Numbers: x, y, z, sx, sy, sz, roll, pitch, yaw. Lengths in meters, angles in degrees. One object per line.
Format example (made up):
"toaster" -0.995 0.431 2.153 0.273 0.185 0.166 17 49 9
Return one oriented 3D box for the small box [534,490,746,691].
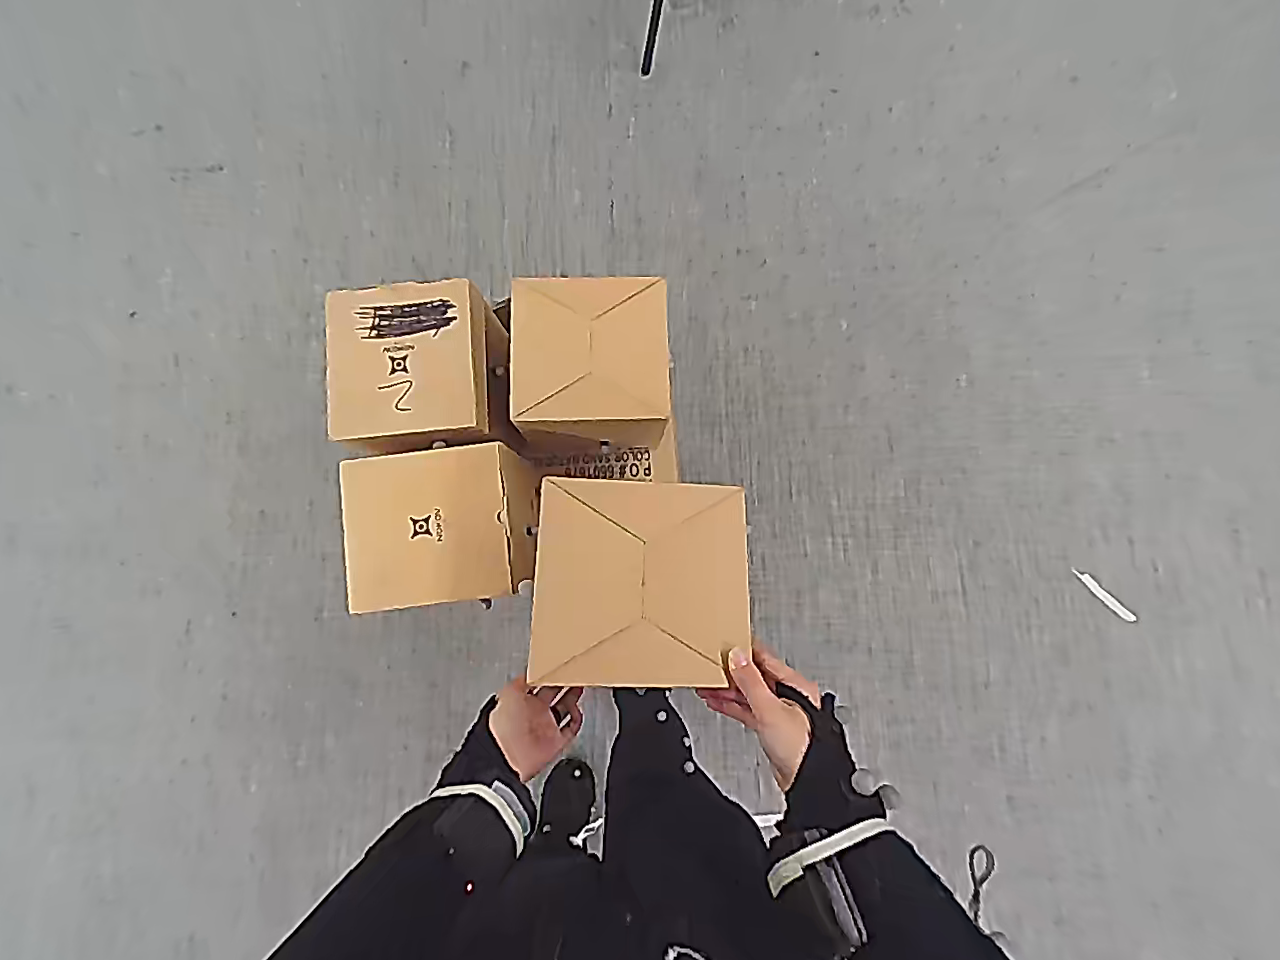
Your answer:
"small box" -0.004 0.112 0.526 0.179 0.176 0.168 3 72 -6
